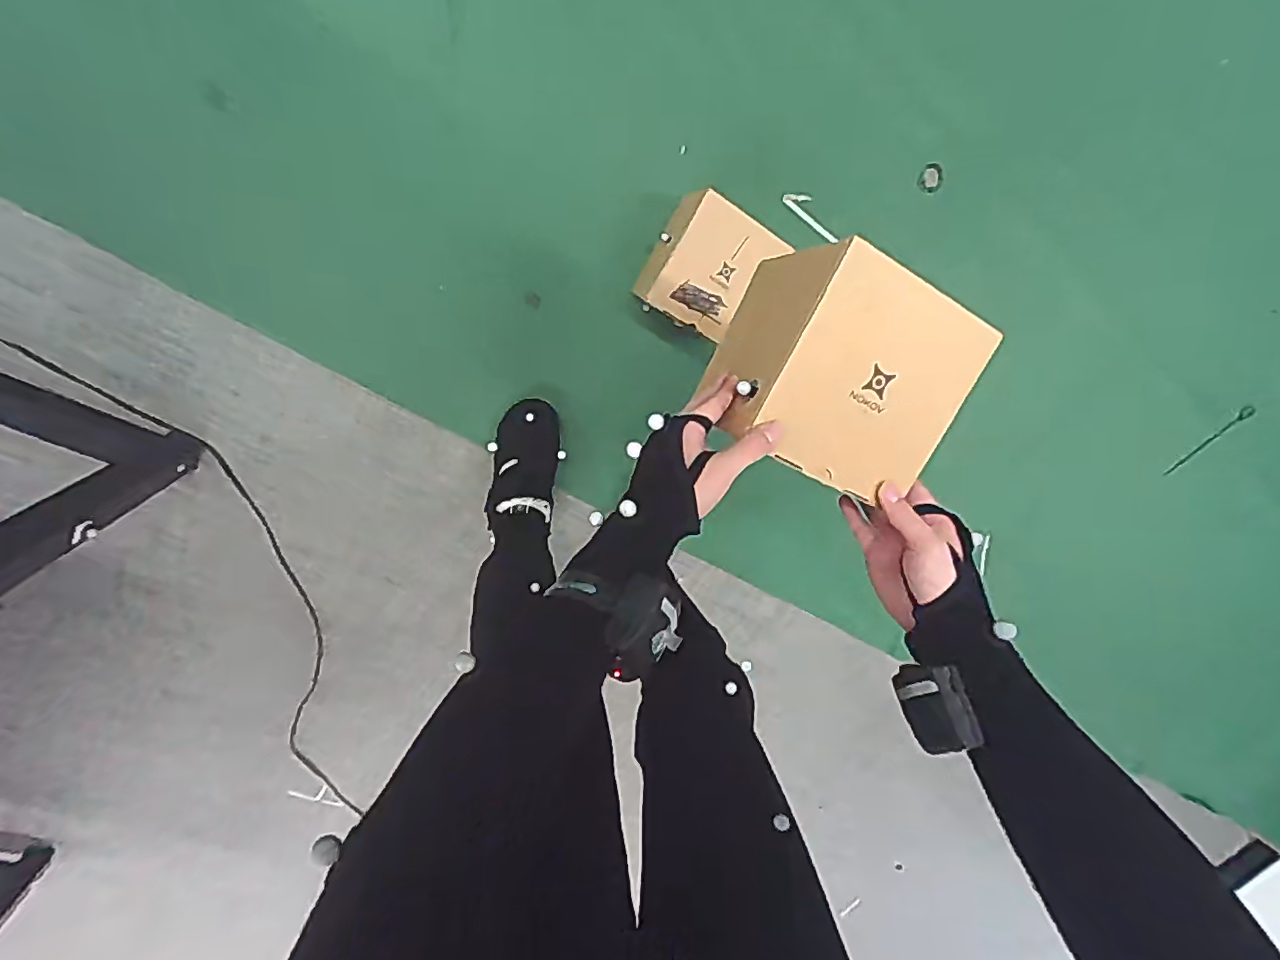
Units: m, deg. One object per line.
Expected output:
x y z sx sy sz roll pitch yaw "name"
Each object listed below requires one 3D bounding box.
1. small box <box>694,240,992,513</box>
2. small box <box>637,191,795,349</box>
0.173 -0.099 0.519 0.168 0.176 0.179 24 101 -18 "small box"
0.109 -0.328 0.869 0.168 0.176 0.179 27 106 -19 "small box"
